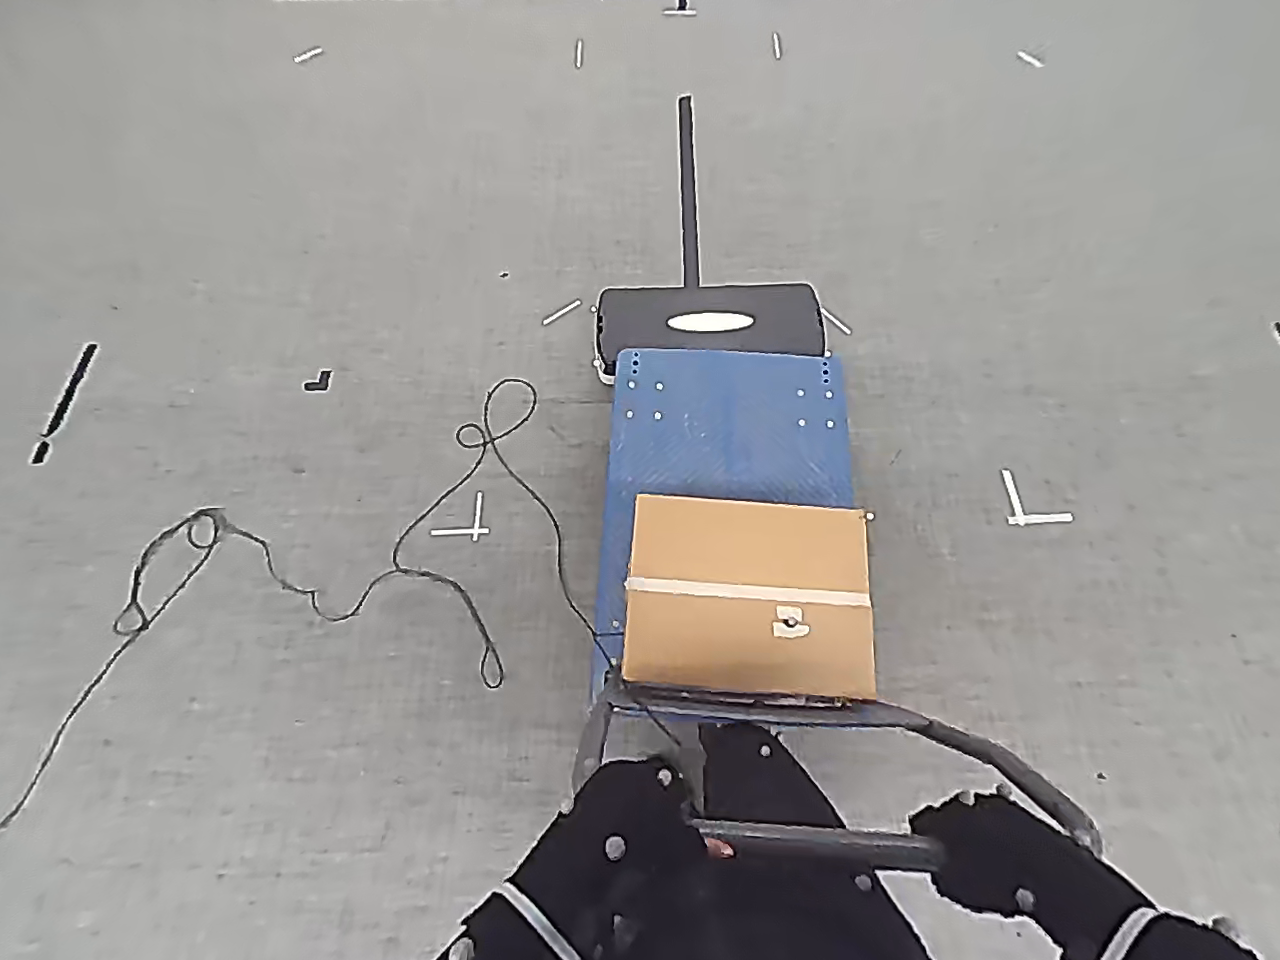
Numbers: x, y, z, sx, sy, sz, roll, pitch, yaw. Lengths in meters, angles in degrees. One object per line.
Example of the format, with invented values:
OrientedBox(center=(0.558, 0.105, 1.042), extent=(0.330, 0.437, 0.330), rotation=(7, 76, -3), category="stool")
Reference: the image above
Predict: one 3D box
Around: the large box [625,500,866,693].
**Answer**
OrientedBox(center=(0.177, 0.238, 1.070), extent=(0.408, 0.320, 0.320), rotation=(4, 73, 0), category="large box")
